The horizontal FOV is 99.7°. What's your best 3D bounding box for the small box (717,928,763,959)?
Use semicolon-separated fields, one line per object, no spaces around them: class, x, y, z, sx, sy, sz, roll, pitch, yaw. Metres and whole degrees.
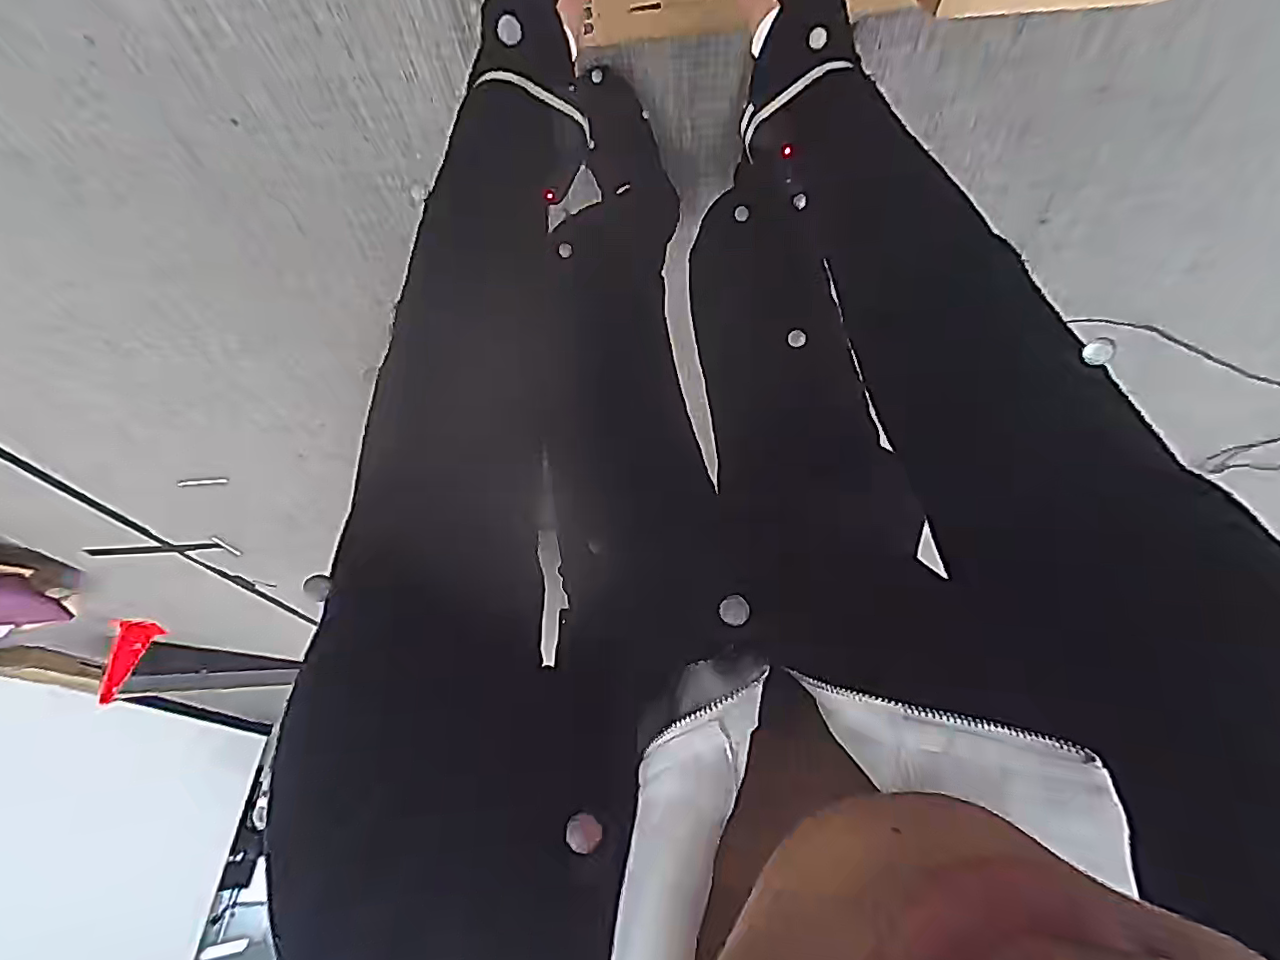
small box;0.384;1.817;2.046;0.168;0.176;0.179;-6;148;10

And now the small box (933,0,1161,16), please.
small box;0.282;-0.448;0.357;0.168;0.176;0.179;-2;146;2
